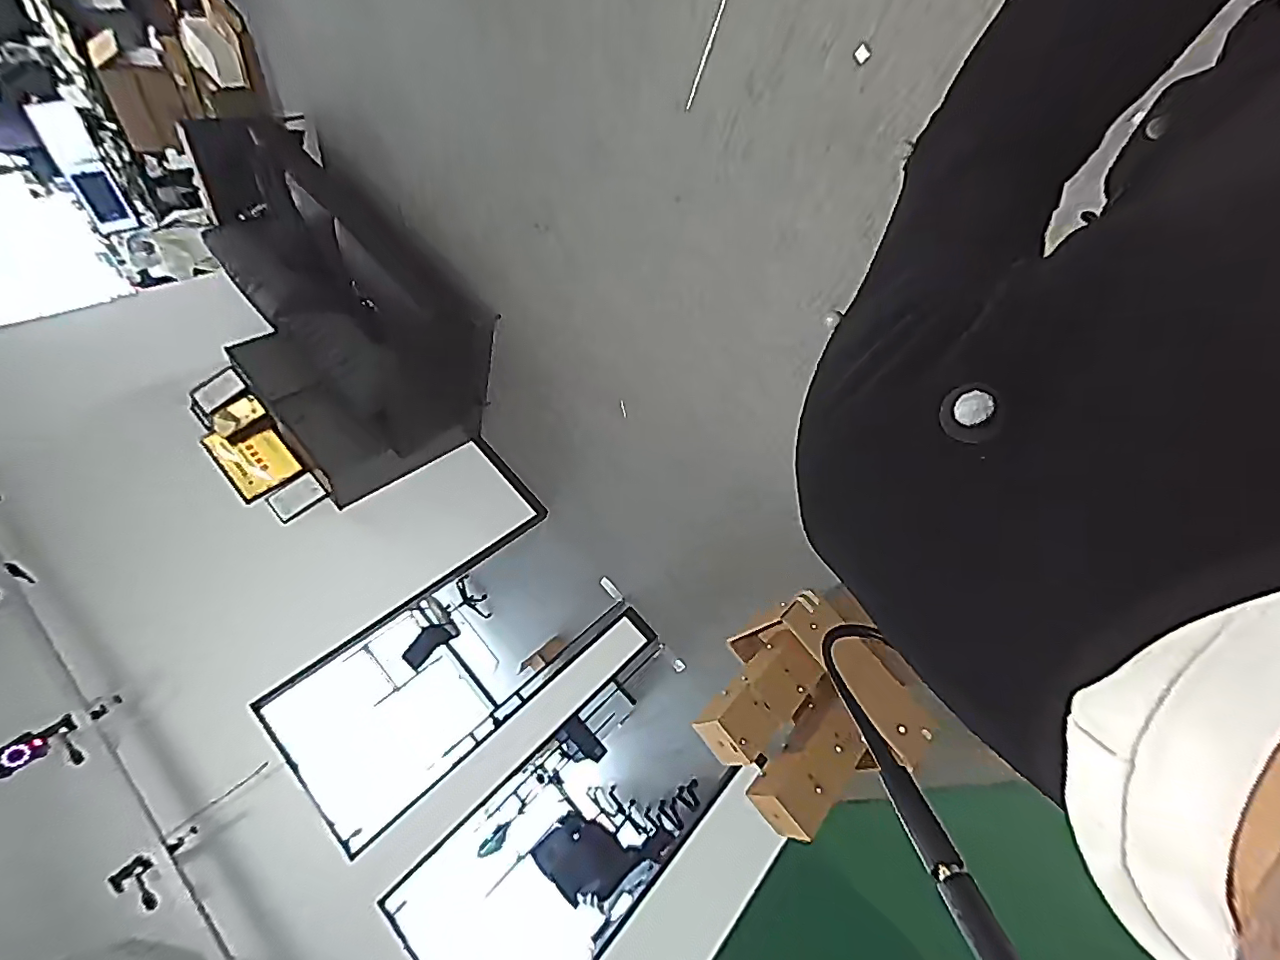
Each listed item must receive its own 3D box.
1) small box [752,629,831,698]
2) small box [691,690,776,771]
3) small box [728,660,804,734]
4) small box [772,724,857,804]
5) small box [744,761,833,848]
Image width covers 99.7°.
[{"bbox_3d":[0.538,0.653,1.912,0.168,0.176,0.179,51,145,8],"label":"small box"},{"bbox_3d":[0.303,0.801,1.736,0.168,0.176,0.179,51,146,7],"label":"small box"},{"bbox_3d":[0.425,0.730,1.821,0.168,0.176,0.179,51,146,7],"label":"small box"},{"bbox_3d":[0.583,0.941,1.797,0.168,0.176,0.179,49,146,9],"label":"small box"},{"bbox_3d":[0.470,1.016,1.708,0.168,0.176,0.179,50,146,7],"label":"small box"}]
